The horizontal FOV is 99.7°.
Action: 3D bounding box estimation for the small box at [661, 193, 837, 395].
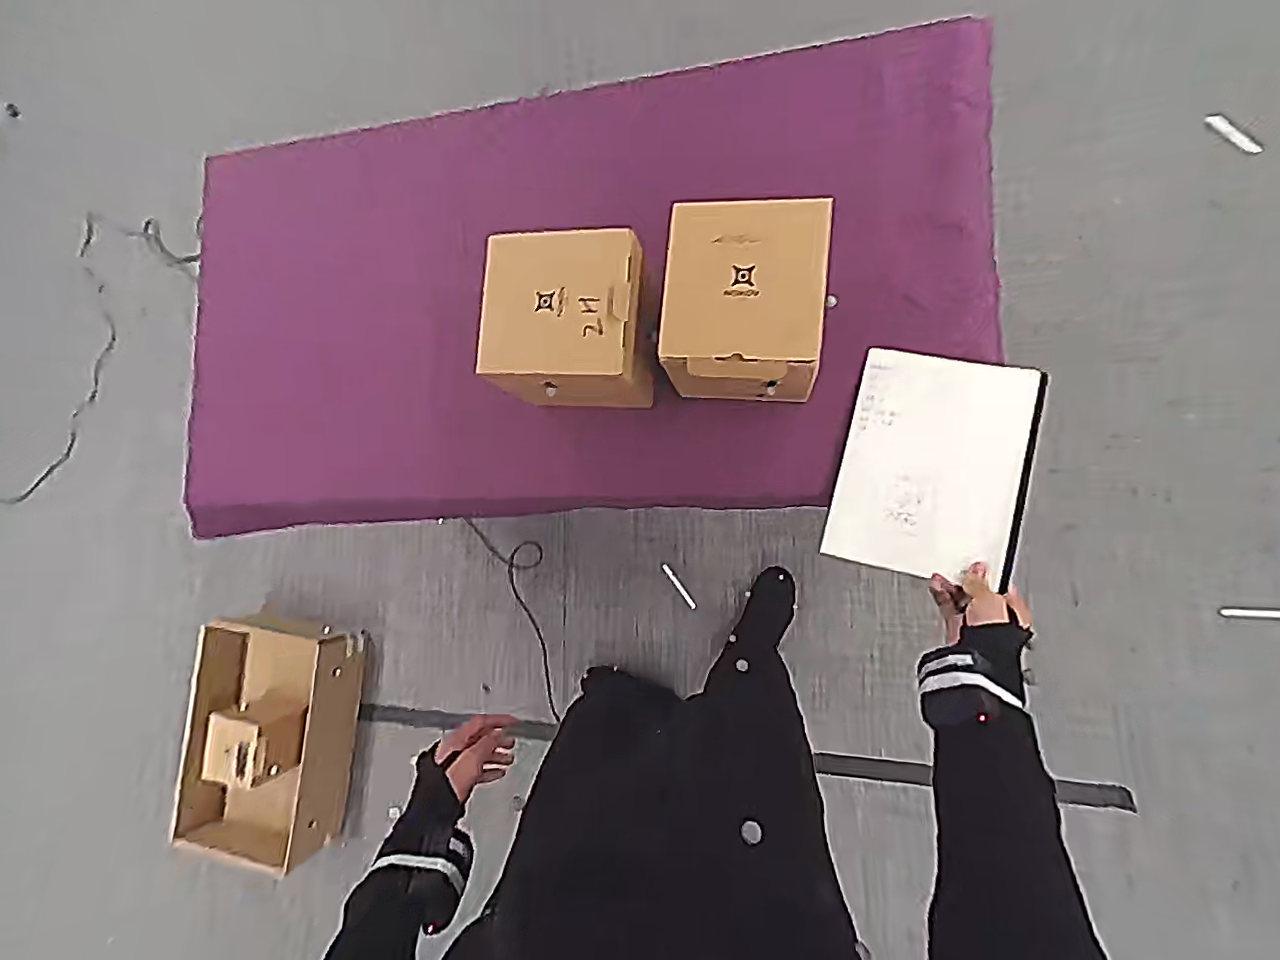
[{"bbox_3d":[0.128,-0.203,0.633,0.168,0.176,0.179,6,86,13],"label":"small box"}]
